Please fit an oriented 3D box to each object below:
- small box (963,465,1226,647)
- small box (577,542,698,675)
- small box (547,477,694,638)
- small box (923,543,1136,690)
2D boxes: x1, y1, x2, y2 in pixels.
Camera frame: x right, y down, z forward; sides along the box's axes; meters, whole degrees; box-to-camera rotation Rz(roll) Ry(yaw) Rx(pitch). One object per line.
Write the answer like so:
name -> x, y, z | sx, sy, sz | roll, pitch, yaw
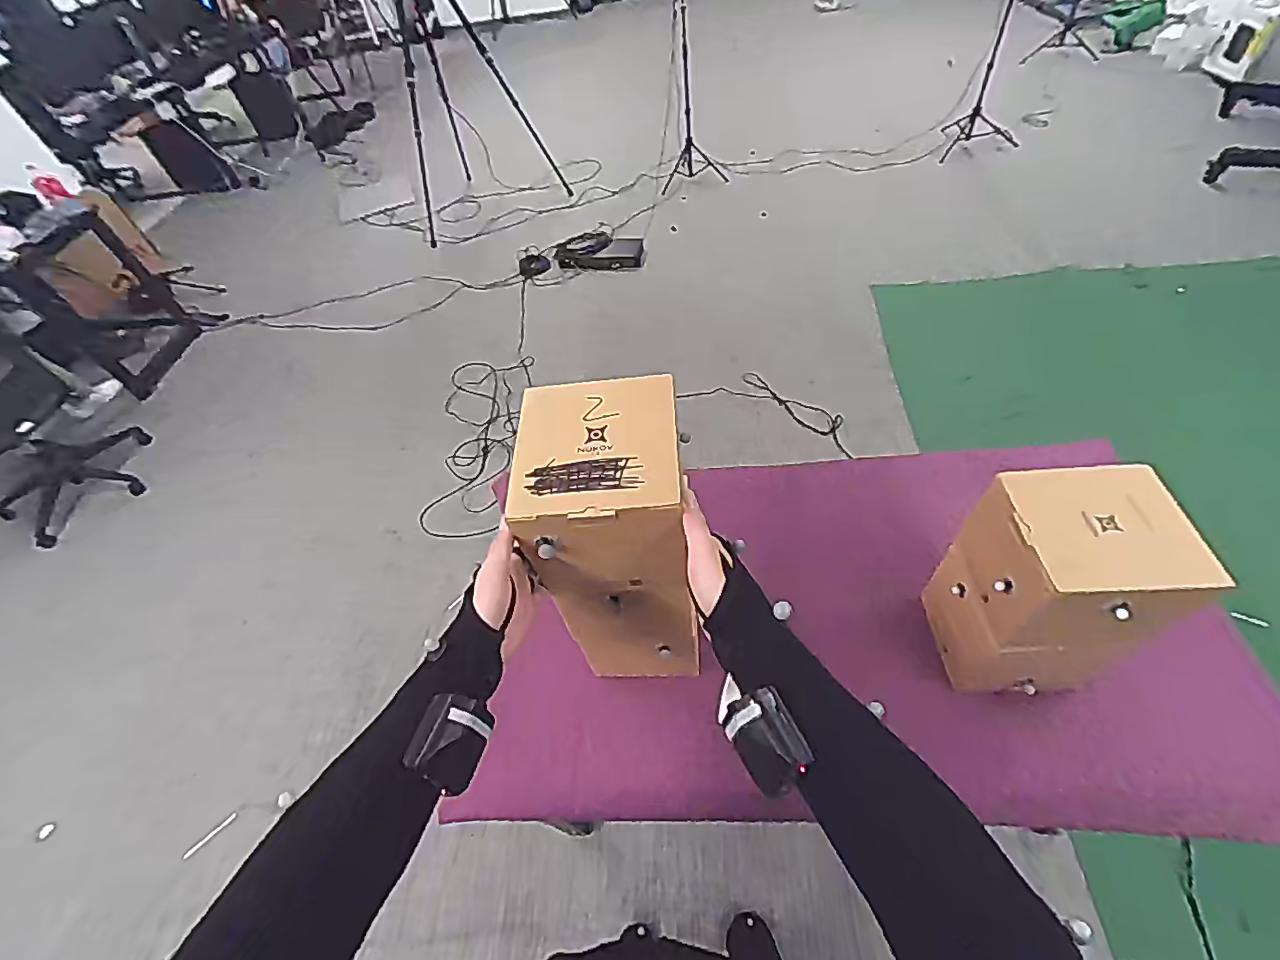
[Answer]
small box -> 0.533, 0.101, 0.676 | 0.179, 0.176, 0.168 | -3, 52, 7
small box -> 0.006, 0.211, 0.888 | 0.179, 0.176, 0.168 | -3, 51, 7
small box -> -0.014, 0.113, 0.760 | 0.179, 0.176, 0.168 | -3, 52, 8
small box -> 0.554, 0.203, 0.802 | 0.179, 0.176, 0.168 | -4, 51, 6
